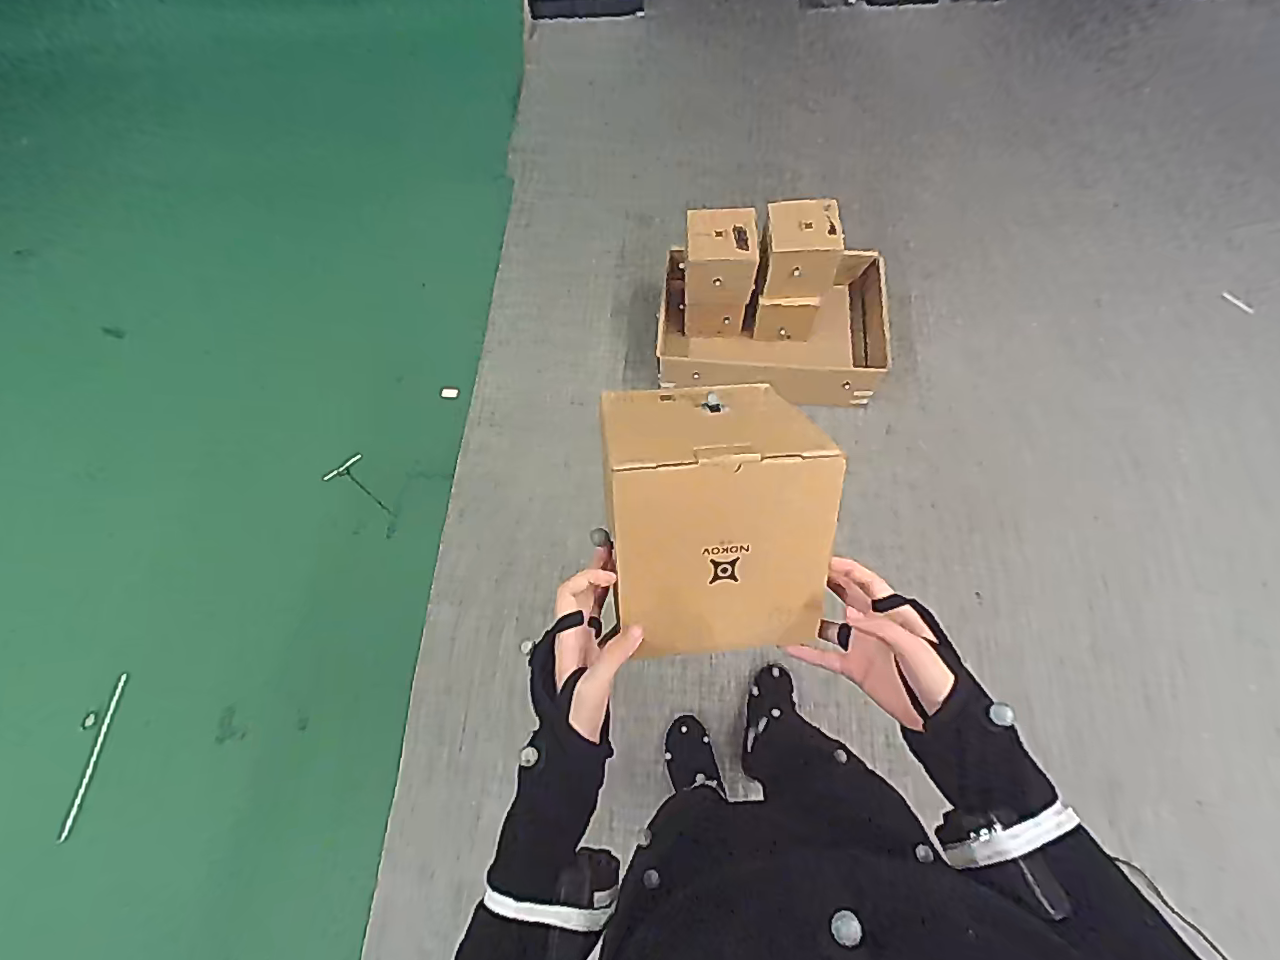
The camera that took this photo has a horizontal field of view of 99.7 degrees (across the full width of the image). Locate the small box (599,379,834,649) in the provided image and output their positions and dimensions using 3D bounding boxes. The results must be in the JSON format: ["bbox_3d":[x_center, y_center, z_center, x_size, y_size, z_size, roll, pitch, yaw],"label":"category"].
[{"bbox_3d":[0.051,0.021,0.480,0.168,0.179,0.176,-5,26,-4],"label":"small box"}]

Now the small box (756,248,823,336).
[{"bbox_3d":[0.423,-0.539,1.551,0.168,0.176,0.179,3,71,8],"label":"small box"}]

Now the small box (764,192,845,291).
[{"bbox_3d":[0.417,-0.612,1.403,0.179,0.176,0.168,-2,70,6],"label":"small box"}]

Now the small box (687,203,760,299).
[{"bbox_3d":[0.212,-0.594,1.413,0.179,0.176,0.168,-1,71,4],"label":"small box"}]
